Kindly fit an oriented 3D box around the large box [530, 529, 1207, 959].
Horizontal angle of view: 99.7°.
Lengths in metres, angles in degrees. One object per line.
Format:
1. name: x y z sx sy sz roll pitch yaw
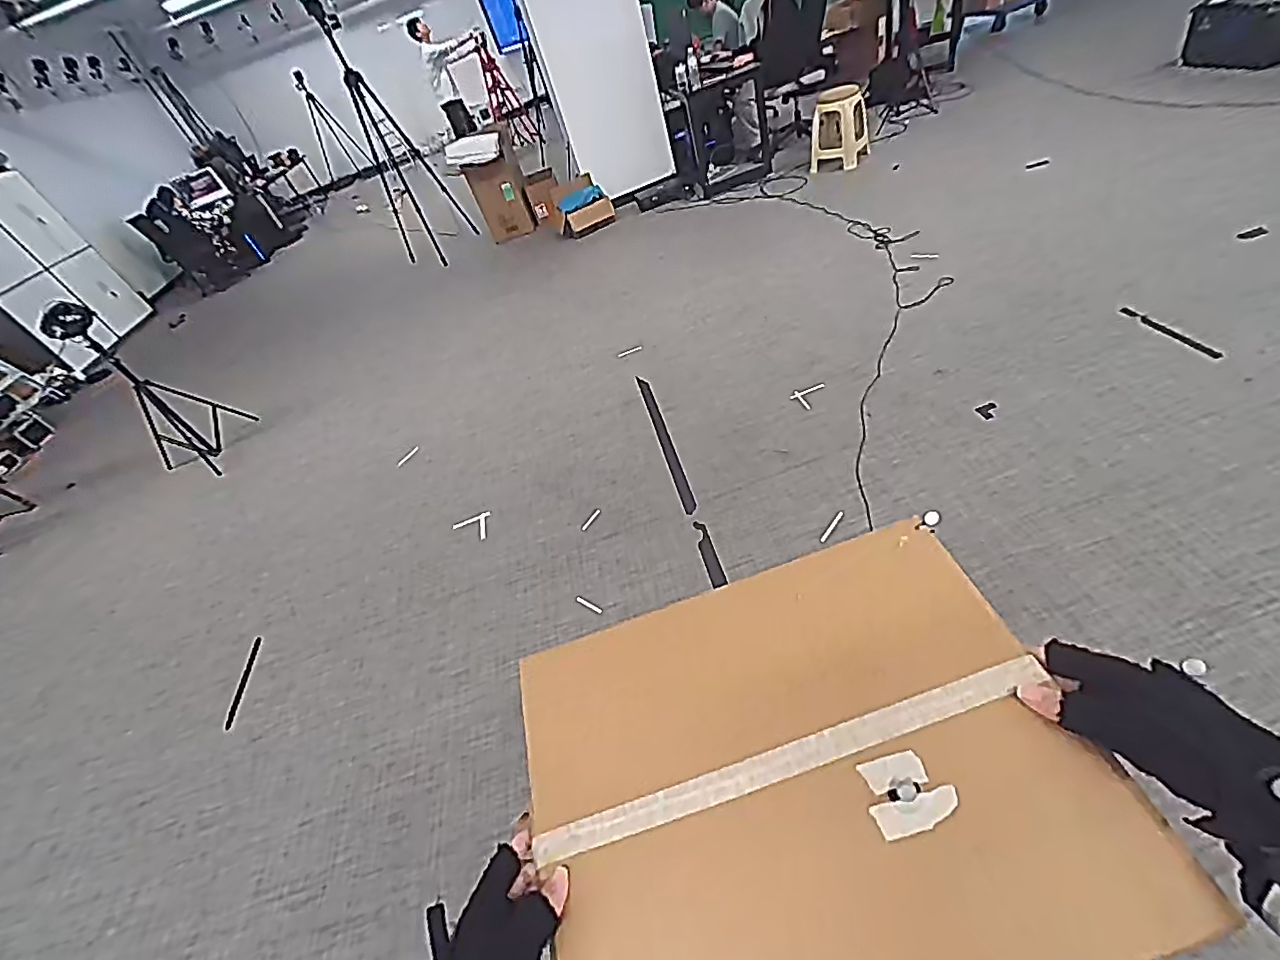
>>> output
1. large box: 0.151 0.316 0.529 0.408 0.320 0.320 -21 48 0
